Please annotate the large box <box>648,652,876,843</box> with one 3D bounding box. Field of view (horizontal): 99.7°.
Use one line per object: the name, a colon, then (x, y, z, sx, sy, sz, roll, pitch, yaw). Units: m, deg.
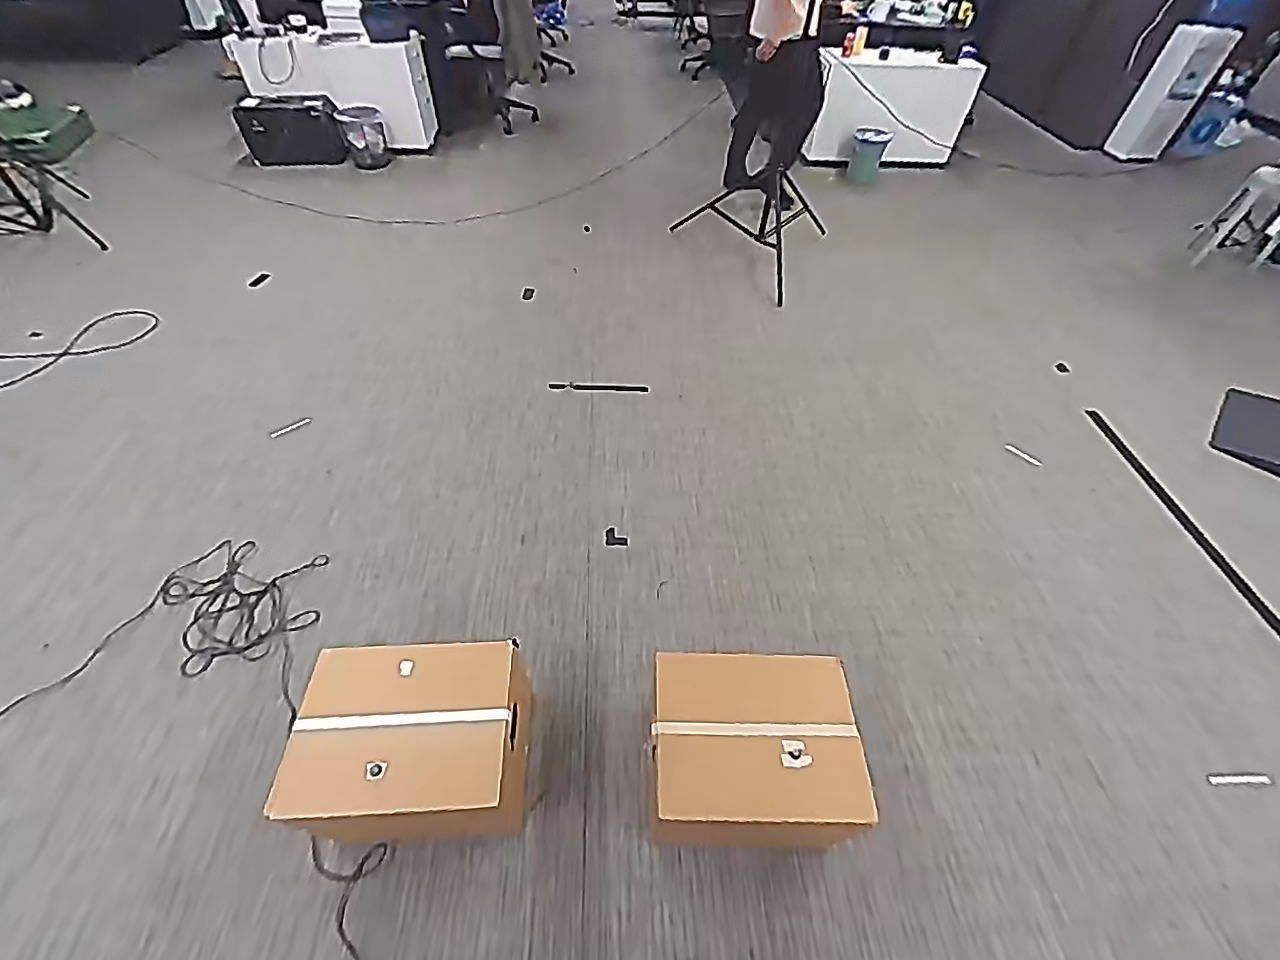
large box: (0.228, 0.594, 1.193, 0.408, 0.320, 0.320, 2, 50, -2)
